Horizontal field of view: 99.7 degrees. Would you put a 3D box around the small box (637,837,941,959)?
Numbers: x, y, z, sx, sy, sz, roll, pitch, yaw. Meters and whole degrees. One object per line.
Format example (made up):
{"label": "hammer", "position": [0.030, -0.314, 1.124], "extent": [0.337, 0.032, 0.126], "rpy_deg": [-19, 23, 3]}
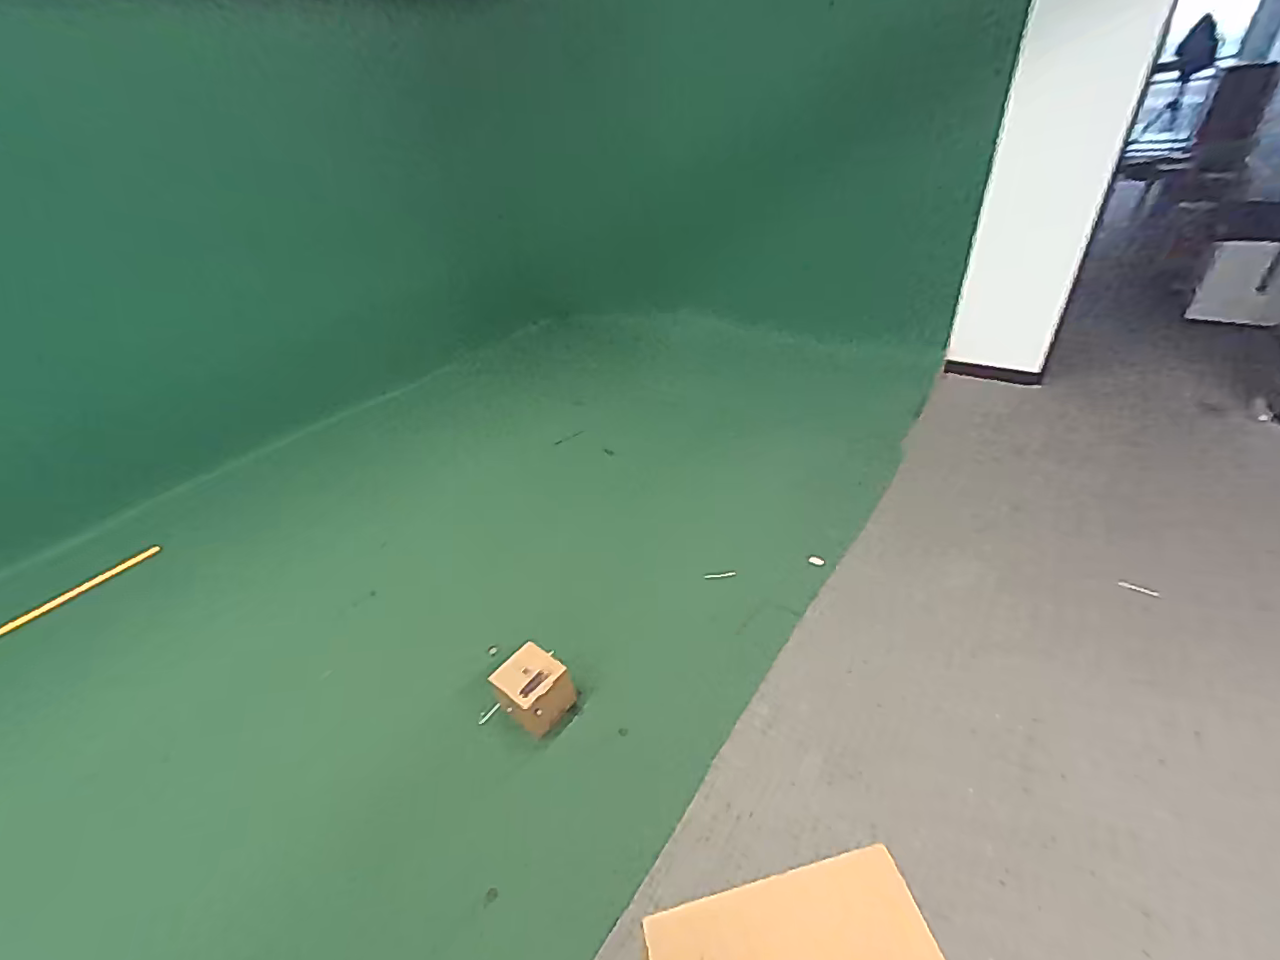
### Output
{"label": "small box", "position": [0.094, 0.357, 0.316], "extent": [0.168, 0.176, 0.179], "rpy_deg": [-9, 38, -12]}
